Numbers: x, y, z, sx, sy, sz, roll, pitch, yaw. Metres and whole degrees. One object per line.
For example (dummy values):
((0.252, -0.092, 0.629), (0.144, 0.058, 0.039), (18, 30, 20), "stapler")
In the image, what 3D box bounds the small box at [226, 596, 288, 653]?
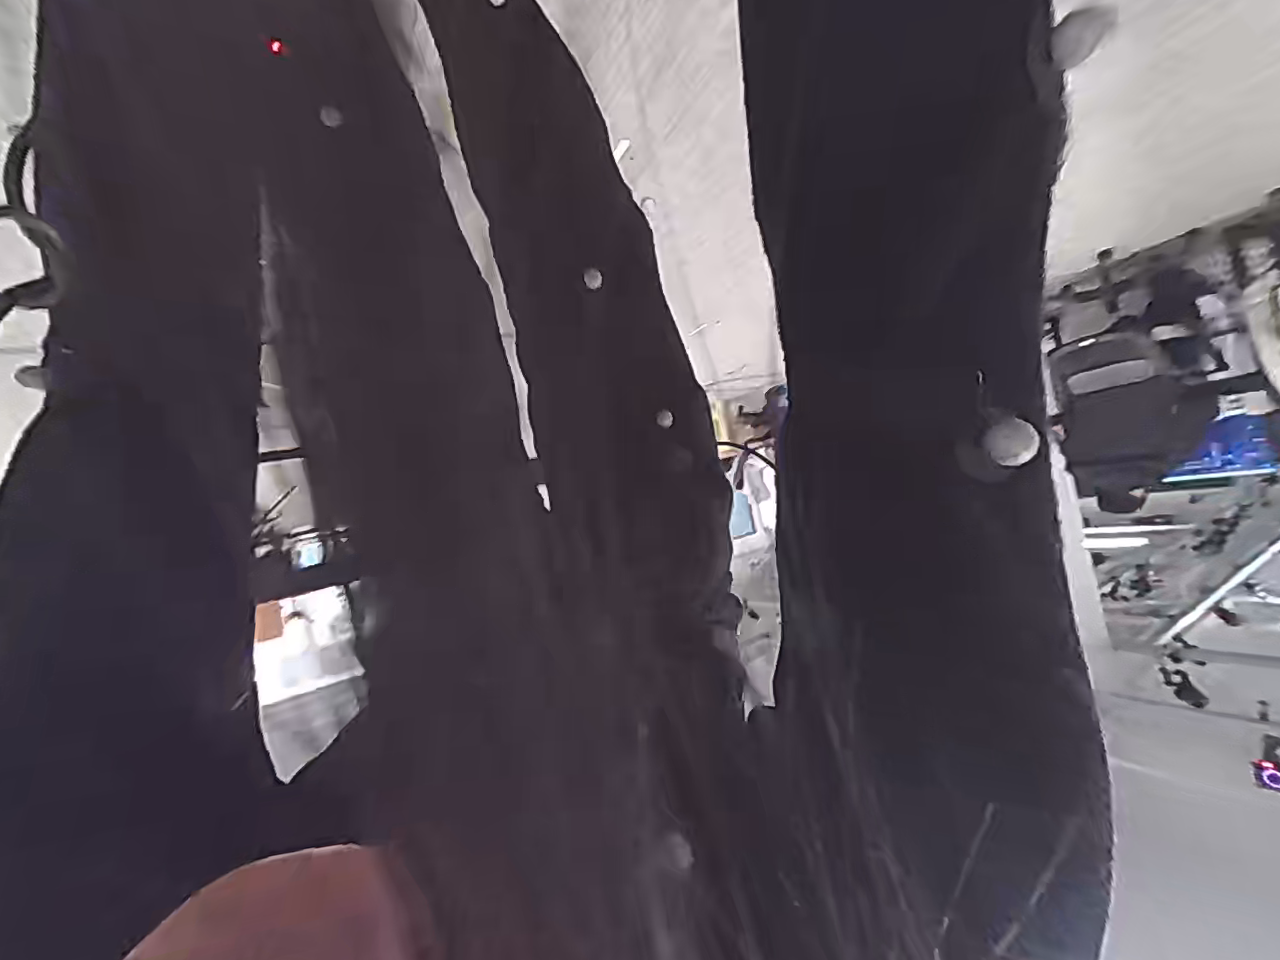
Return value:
((-1.518, 0.566, 2.144), (0.179, 0.176, 0.168), (-11, 179, -32), "small box")
